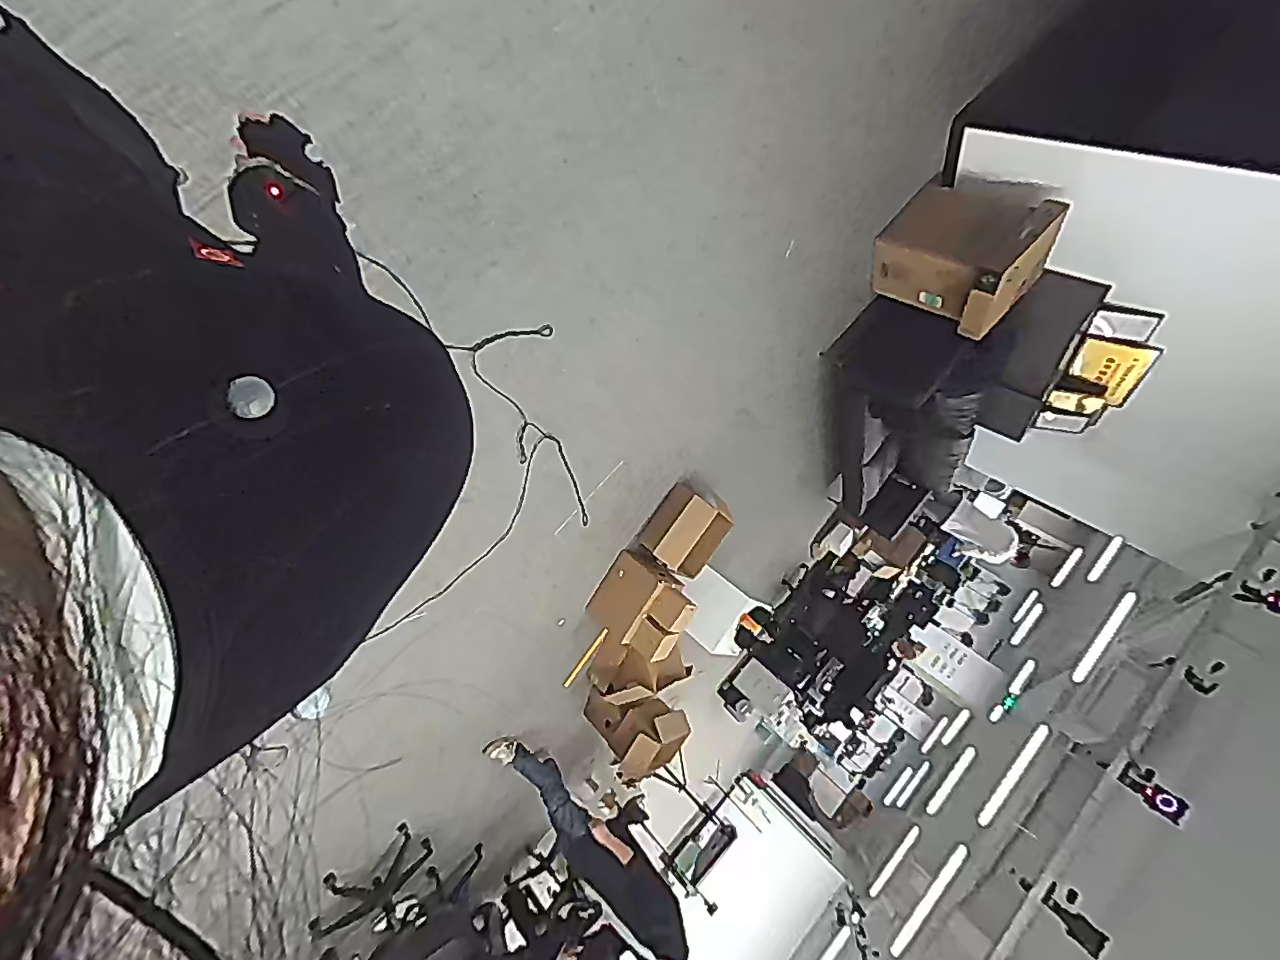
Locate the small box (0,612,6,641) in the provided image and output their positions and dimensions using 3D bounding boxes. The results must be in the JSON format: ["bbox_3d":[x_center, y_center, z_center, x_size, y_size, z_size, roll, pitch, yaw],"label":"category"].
[{"bbox_3d":[-1.425,0.305,1.060,0.179,0.176,0.168,-49,148,-6],"label":"small box"}]
